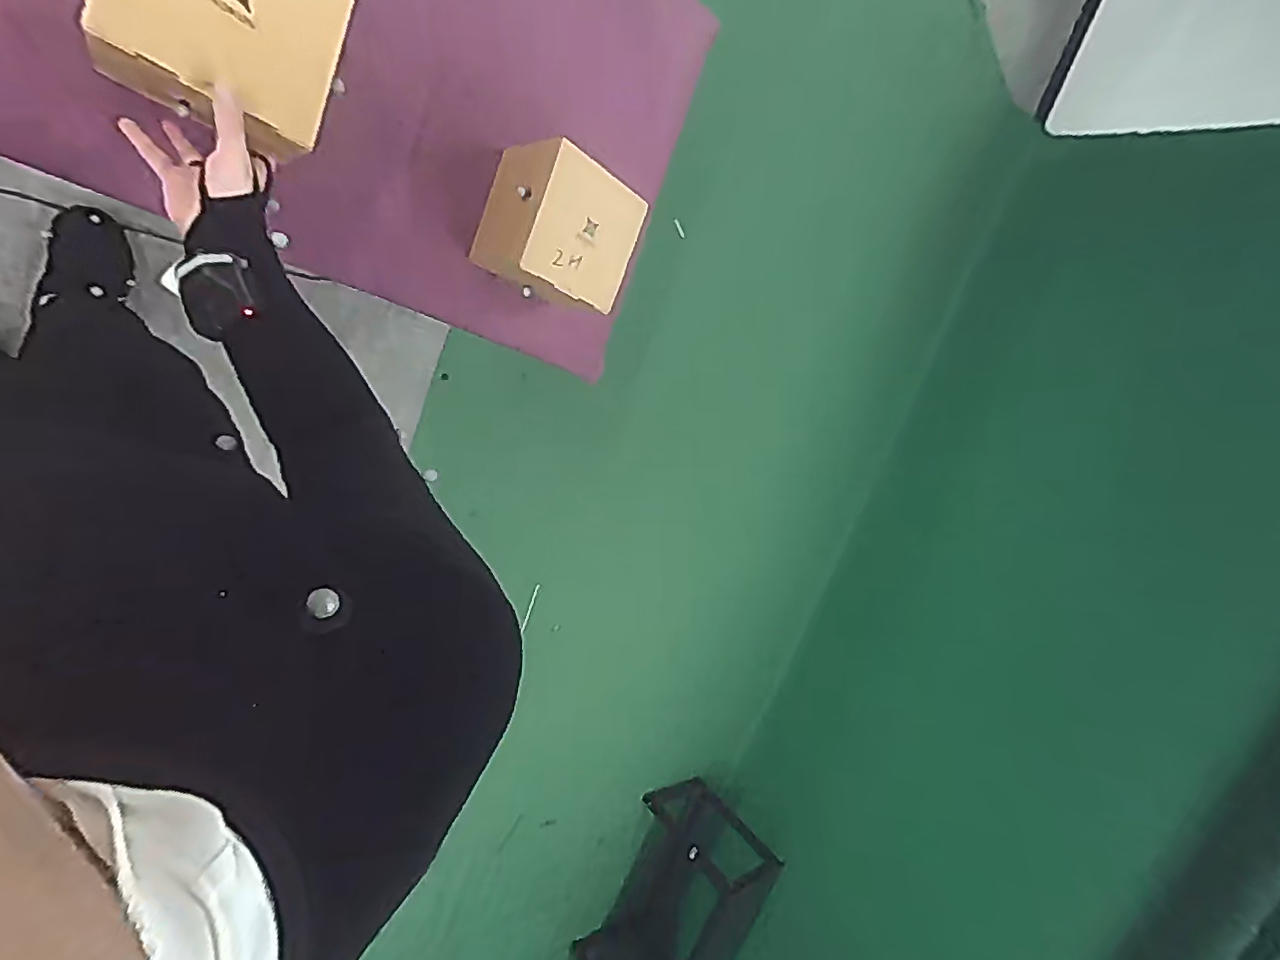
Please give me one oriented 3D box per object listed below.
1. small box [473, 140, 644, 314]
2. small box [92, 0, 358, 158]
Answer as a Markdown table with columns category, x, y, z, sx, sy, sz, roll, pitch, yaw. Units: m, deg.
| category | x | y | z | sx | sy | sz | roll | pitch | yaw |
| --- | --- | --- | --- | --- | --- | --- | --- | --- | --- |
| small box | -0.129 | -0.376 | 0.822 | 0.168 | 0.176 | 0.179 | 15 | 100 | -45 |
| small box | -0.405 | -0.448 | 0.530 | 0.168 | 0.176 | 0.179 | 13 | 103 | -46 |
